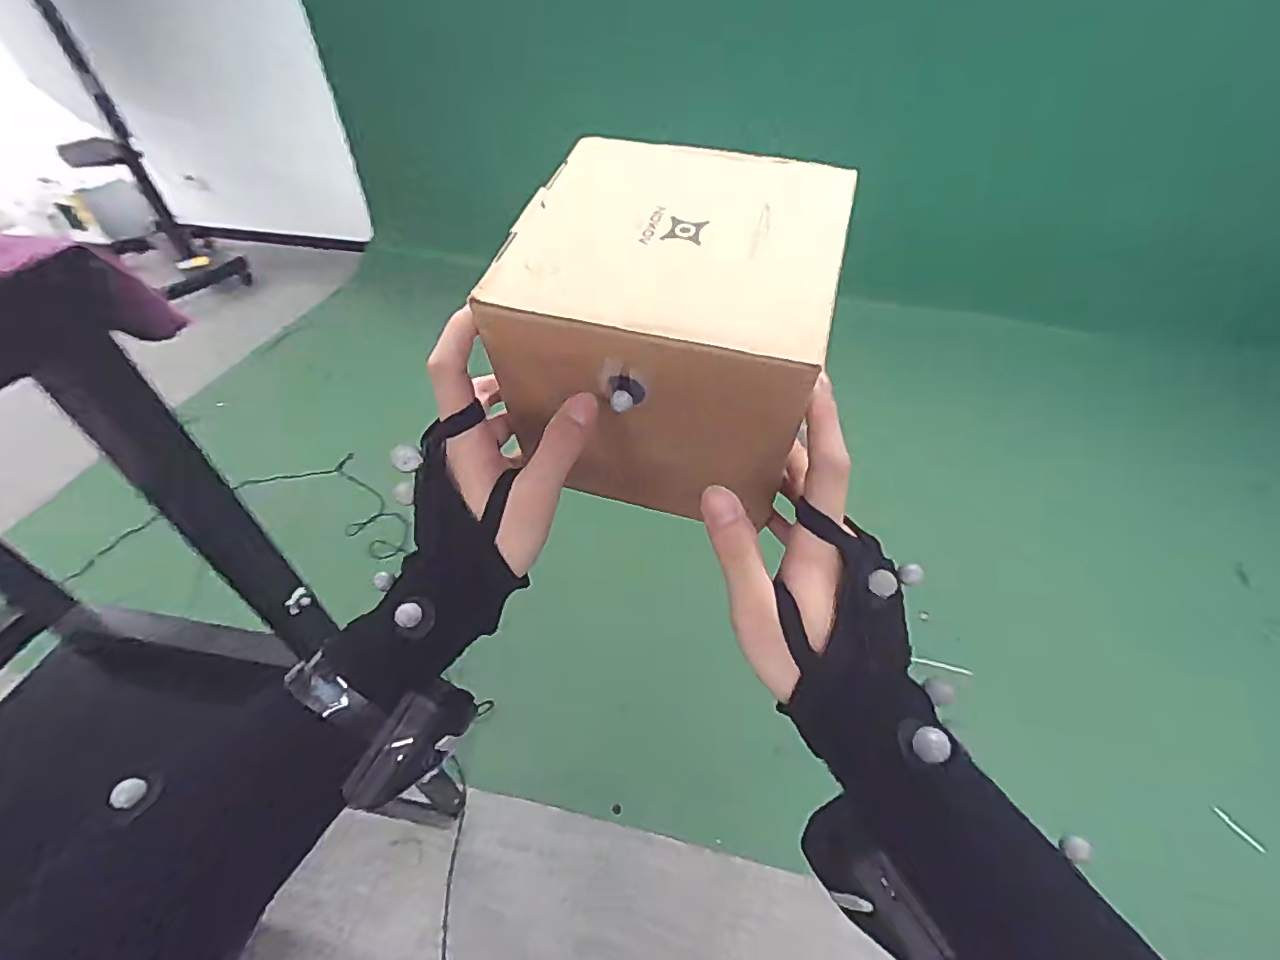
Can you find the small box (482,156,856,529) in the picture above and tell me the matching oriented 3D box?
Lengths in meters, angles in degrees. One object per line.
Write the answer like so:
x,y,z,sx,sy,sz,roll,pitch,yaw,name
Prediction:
0.027,-0.087,0.369,0.179,0.176,0.168,15,59,12,small box
